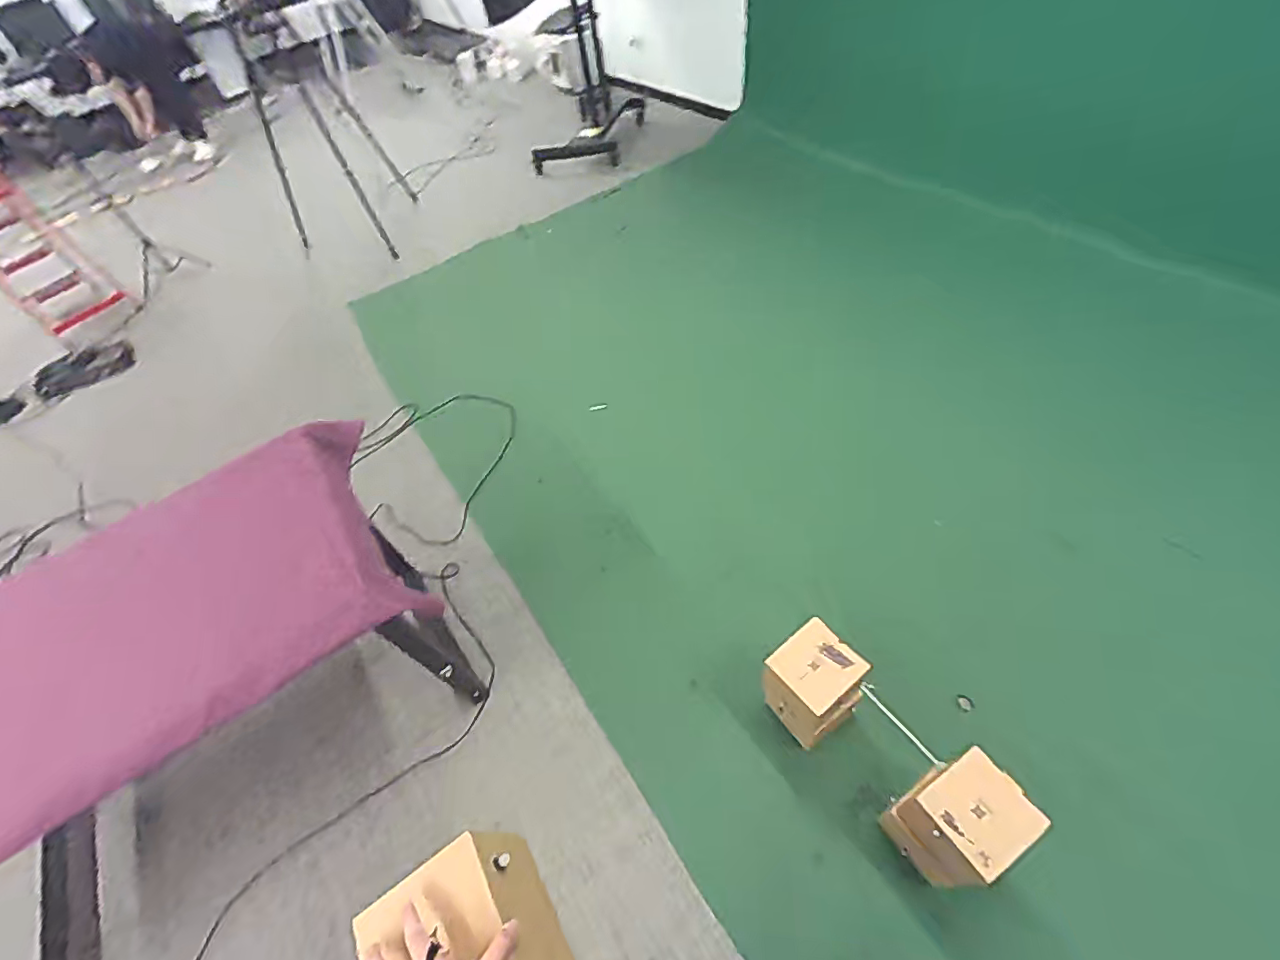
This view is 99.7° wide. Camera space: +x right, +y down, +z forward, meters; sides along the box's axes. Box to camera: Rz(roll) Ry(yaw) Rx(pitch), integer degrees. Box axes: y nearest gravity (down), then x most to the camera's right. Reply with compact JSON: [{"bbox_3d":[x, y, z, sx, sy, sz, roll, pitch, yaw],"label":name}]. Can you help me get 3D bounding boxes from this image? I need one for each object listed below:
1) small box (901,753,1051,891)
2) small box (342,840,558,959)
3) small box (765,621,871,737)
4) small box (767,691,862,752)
[{"bbox_3d":[0.664,0.691,1.094,0.179,0.176,0.168,-29,53,-13],"label":"small box"},{"bbox_3d":[-0.225,0.586,0.666,0.168,0.176,0.179,-36,53,-9],"label":"small box"},{"bbox_3d":[0.418,0.482,1.305,0.179,0.176,0.168,-34,53,-17],"label":"small box"},{"bbox_3d":[0.453,0.585,1.430,0.179,0.176,0.168,-31,53,-15],"label":"small box"}]
